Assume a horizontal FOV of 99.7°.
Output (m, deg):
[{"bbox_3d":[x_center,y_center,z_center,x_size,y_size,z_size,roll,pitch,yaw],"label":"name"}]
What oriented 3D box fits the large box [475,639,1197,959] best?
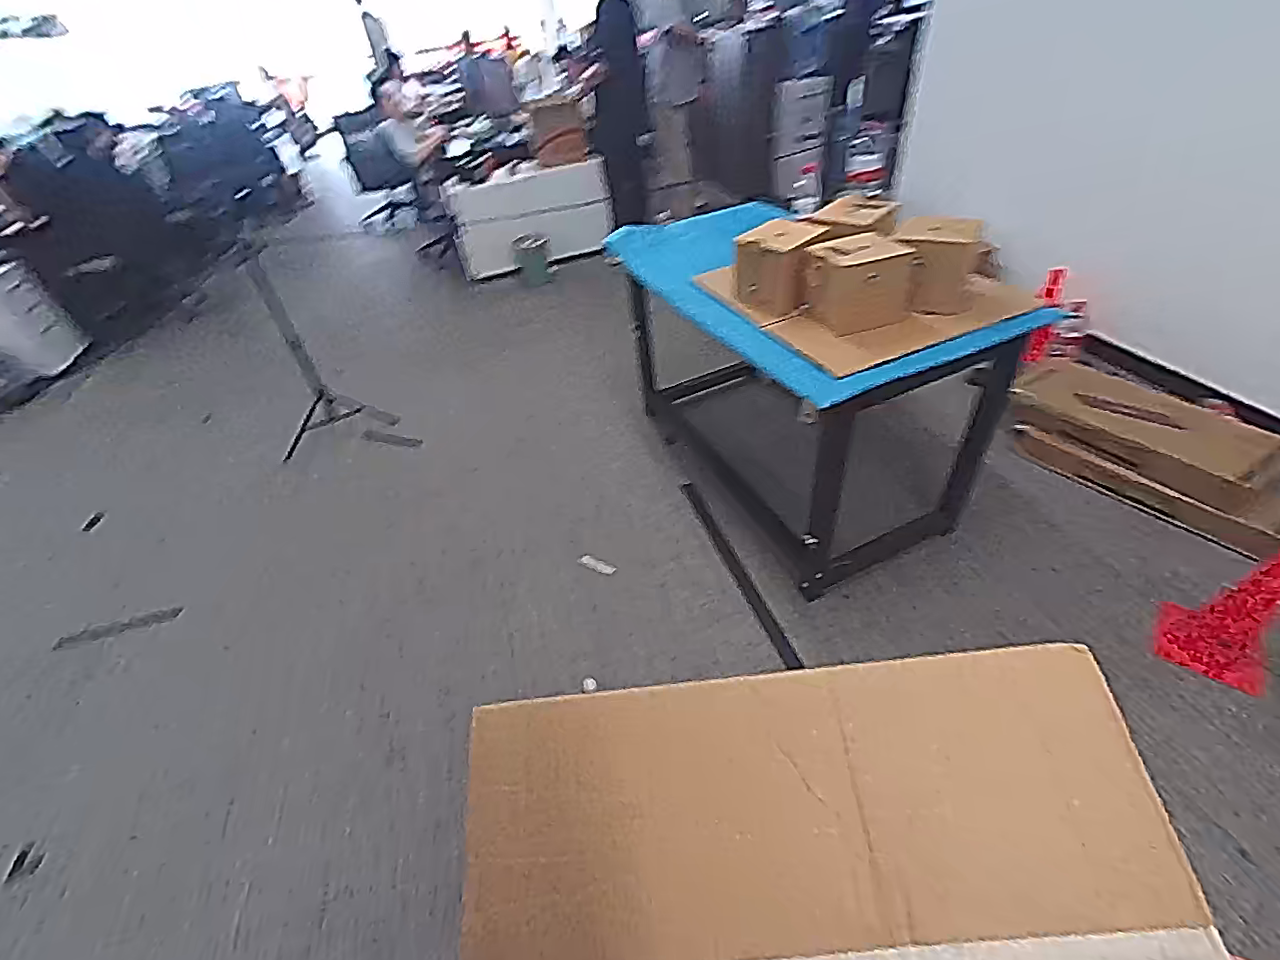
[{"bbox_3d":[0.114,0.338,0.436,0.408,0.320,0.320,-8,64,2],"label":"large box"}]
